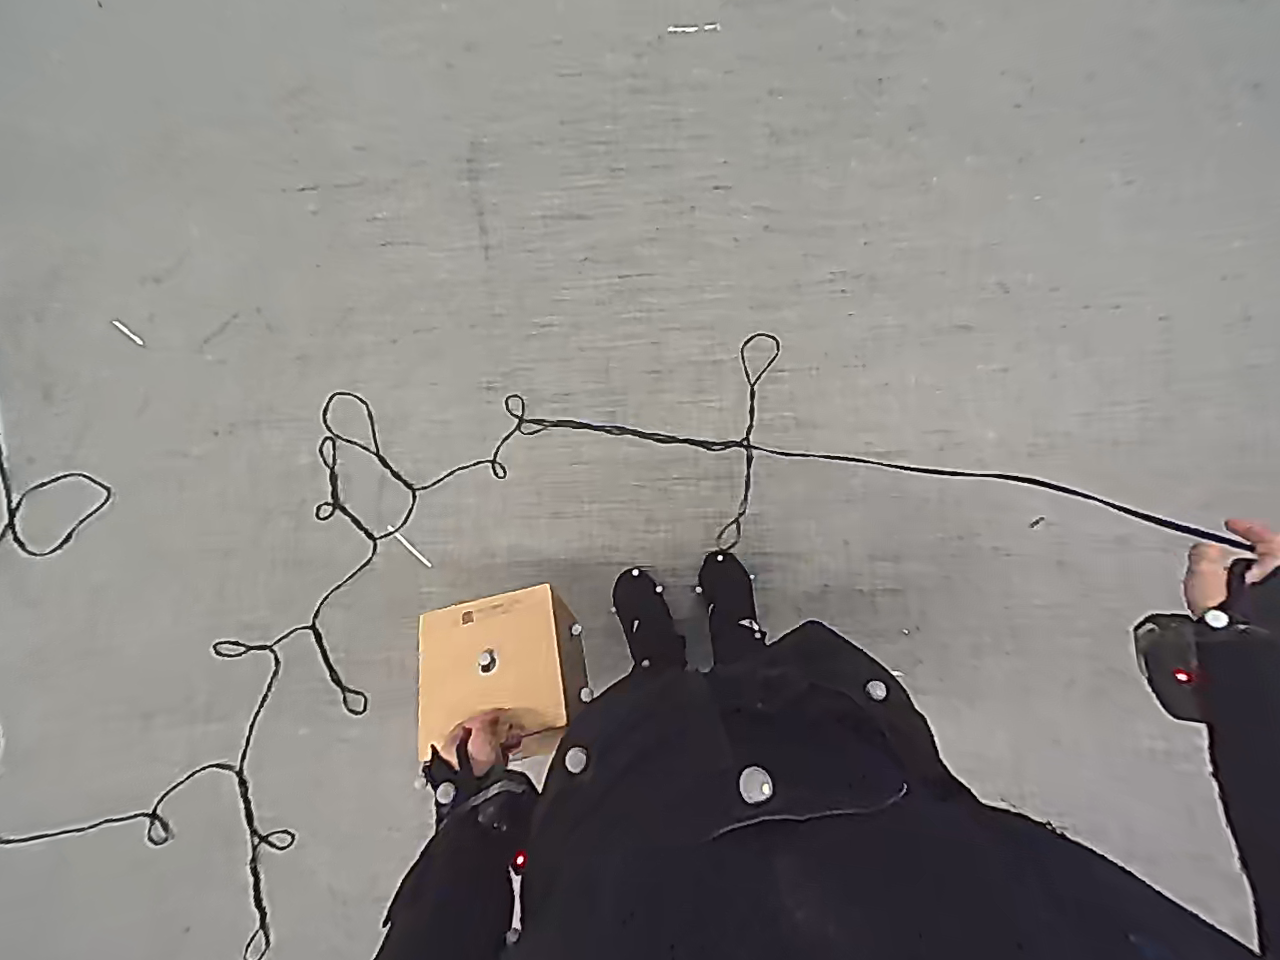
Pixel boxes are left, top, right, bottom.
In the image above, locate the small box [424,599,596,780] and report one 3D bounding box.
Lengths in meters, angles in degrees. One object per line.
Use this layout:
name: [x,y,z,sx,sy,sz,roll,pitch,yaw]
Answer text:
small box: [-0.163,0.264,0.688,0.168,0.179,0.176,-14,59,-1]
